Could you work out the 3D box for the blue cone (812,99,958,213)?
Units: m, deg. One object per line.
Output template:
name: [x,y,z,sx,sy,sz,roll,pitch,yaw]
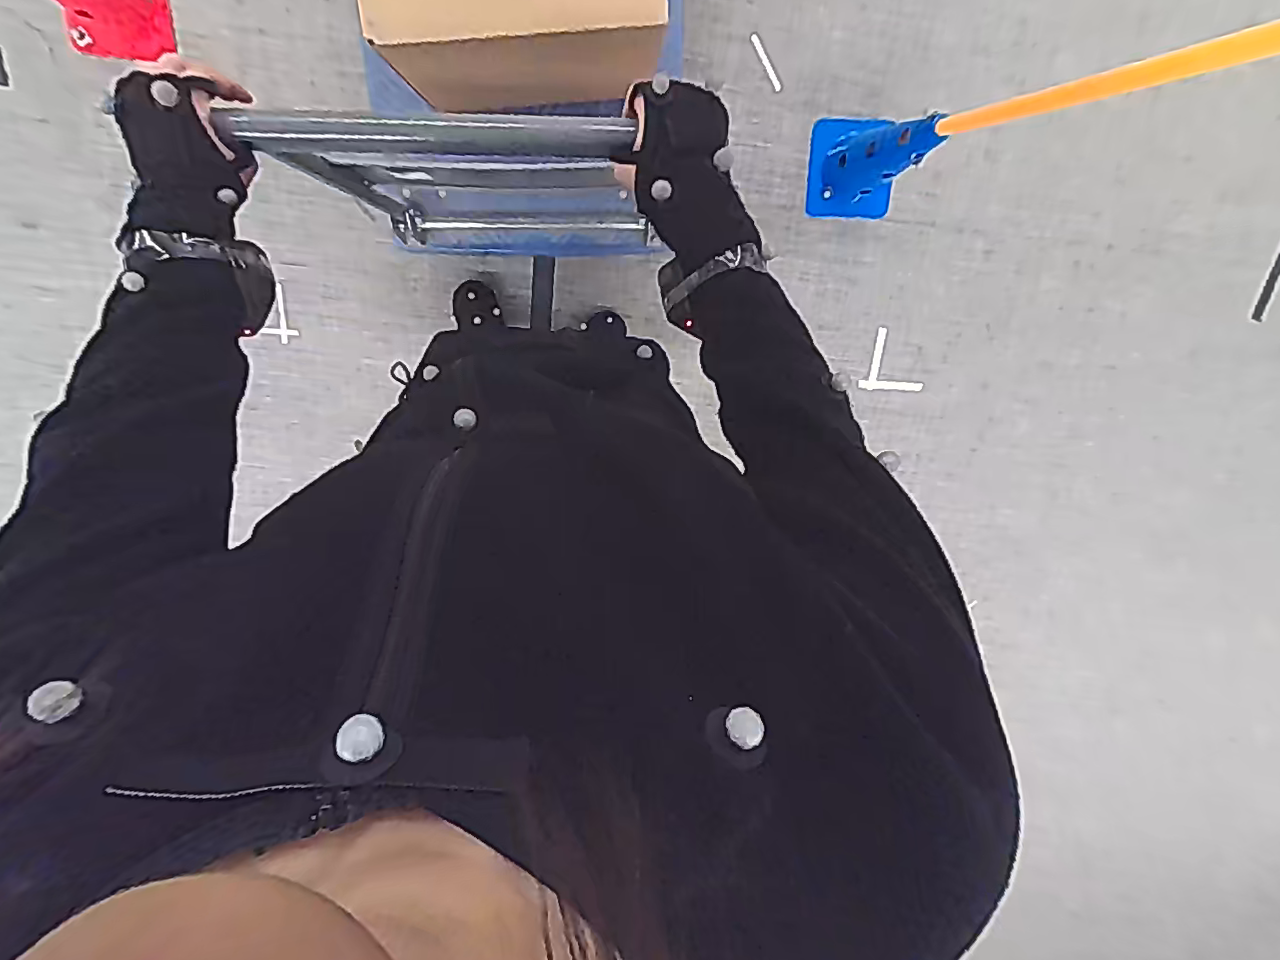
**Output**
blue cone: [0.500,-0.663,1.076,0.193,0.380,0.192,1,109,-4]
